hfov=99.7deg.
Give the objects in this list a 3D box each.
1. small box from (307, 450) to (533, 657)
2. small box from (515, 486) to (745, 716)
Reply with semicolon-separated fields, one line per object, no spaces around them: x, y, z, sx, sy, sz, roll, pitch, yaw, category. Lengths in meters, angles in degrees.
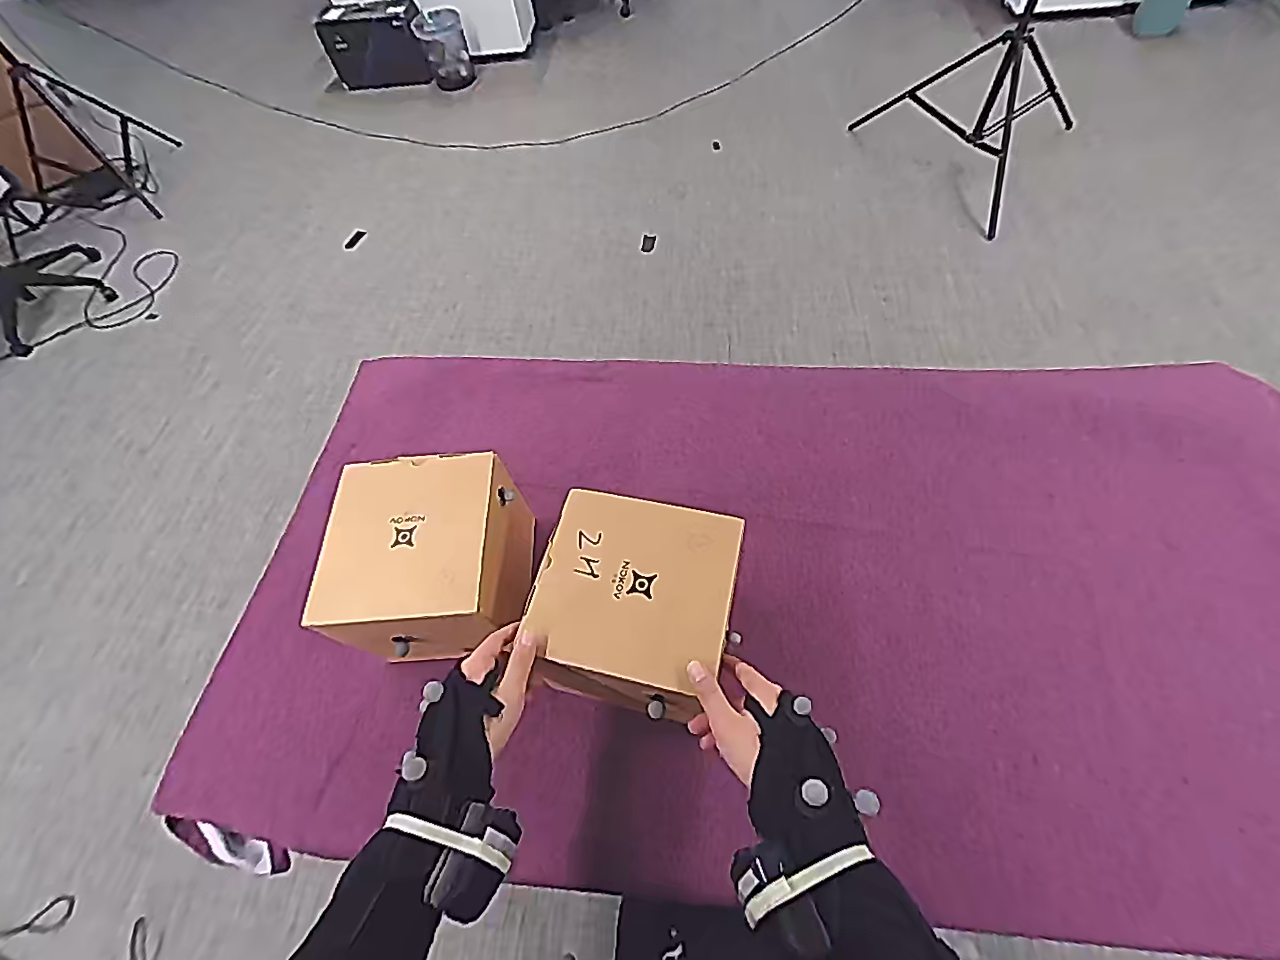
-0.222;0.091;0.601;0.168;0.176;0.179;-6;59;3;small box
0.002;0.130;0.551;0.179;0.176;0.168;9;59;12;small box
